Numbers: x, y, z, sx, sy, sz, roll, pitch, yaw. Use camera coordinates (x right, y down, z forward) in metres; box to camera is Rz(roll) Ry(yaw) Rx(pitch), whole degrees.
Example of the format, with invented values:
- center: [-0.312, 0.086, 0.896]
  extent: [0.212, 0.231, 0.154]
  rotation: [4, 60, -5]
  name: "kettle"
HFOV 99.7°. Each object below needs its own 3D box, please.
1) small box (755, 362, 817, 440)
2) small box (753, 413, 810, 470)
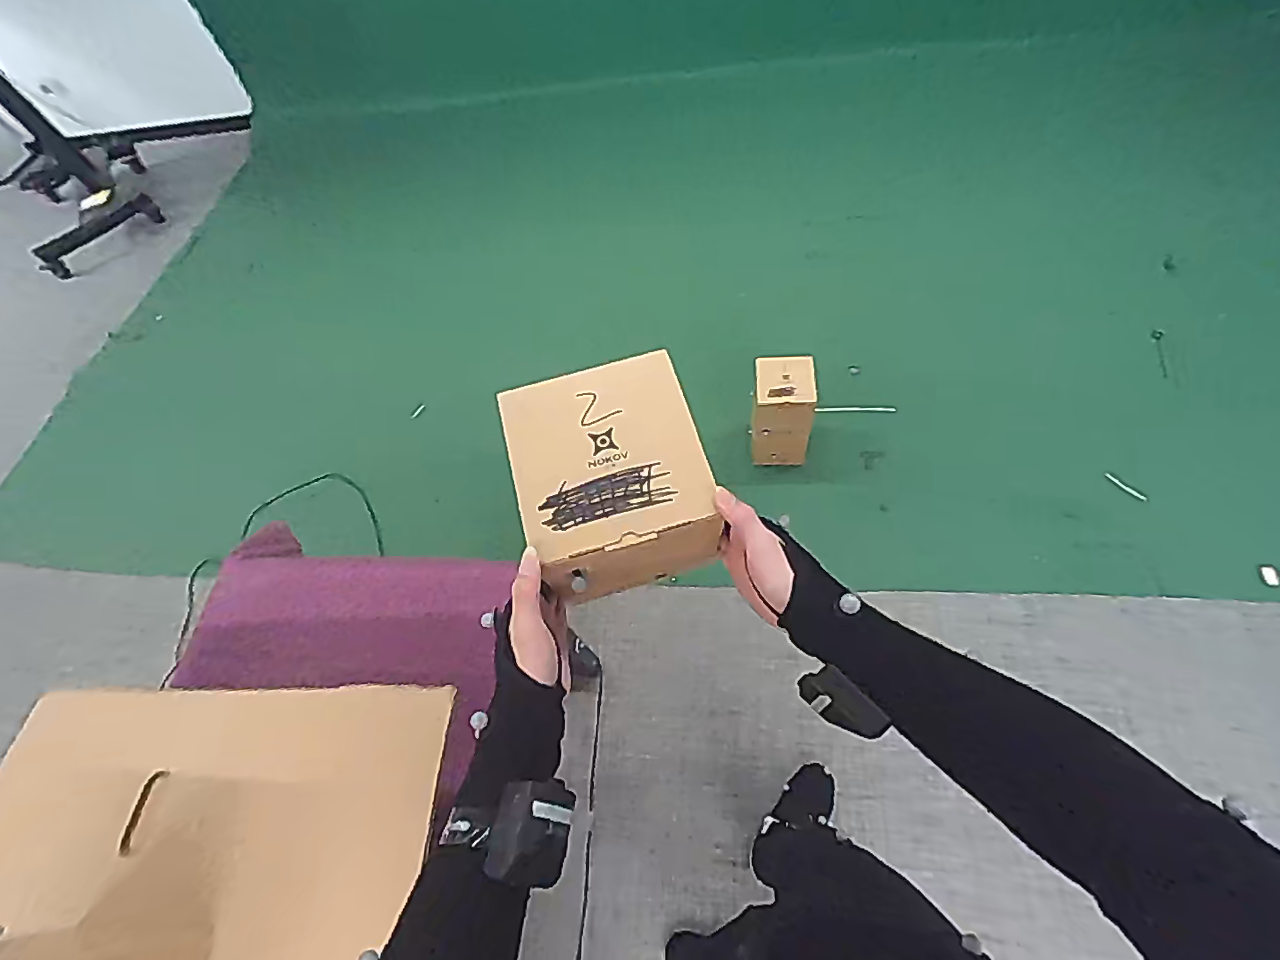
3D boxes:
- center: [0.437, -0.235, 1.638]
  extent: [0.168, 0.176, 0.179]
  rotation: [0, 59, 9]
  name: "small box"
- center: [0.459, -0.152, 1.778]
  extent: [0.168, 0.176, 0.179]
  rotation: [0, 60, 9]
  name: "small box"
